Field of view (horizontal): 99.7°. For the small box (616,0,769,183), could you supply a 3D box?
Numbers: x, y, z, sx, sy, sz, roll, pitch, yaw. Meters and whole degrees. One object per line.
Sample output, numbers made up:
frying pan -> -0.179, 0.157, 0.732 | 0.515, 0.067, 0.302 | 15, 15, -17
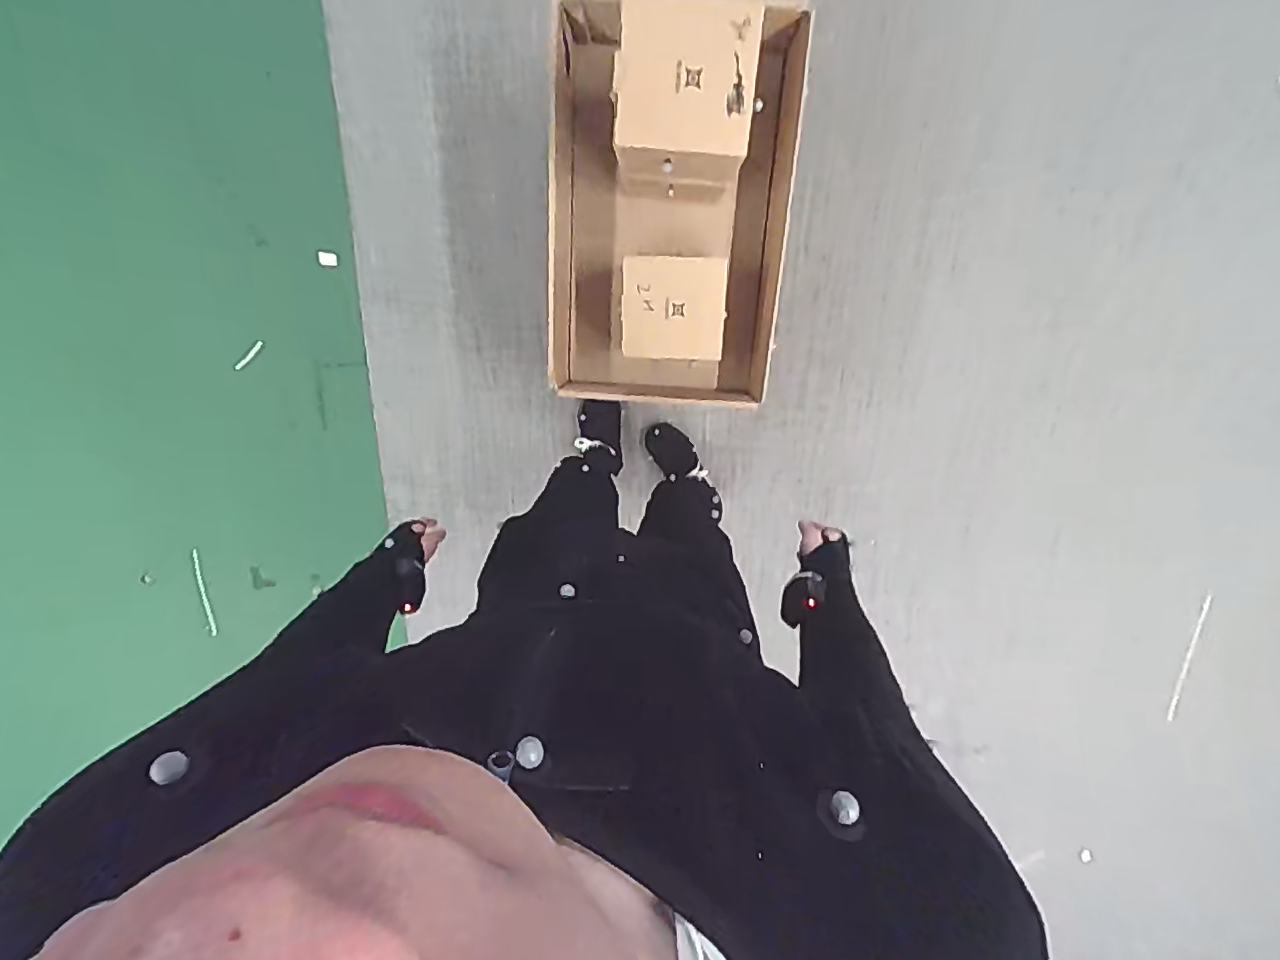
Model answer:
small box -> 0.065, -0.526, 0.750 | 0.179, 0.176, 0.168 | 5, 109, 0

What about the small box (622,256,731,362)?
small box -> 0.060, -0.308, 0.983 | 0.179, 0.176, 0.168 | 2, 106, 1

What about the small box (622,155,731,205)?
small box -> 0.067, -0.572, 0.908 | 0.179, 0.176, 0.168 | 6, 108, -2
